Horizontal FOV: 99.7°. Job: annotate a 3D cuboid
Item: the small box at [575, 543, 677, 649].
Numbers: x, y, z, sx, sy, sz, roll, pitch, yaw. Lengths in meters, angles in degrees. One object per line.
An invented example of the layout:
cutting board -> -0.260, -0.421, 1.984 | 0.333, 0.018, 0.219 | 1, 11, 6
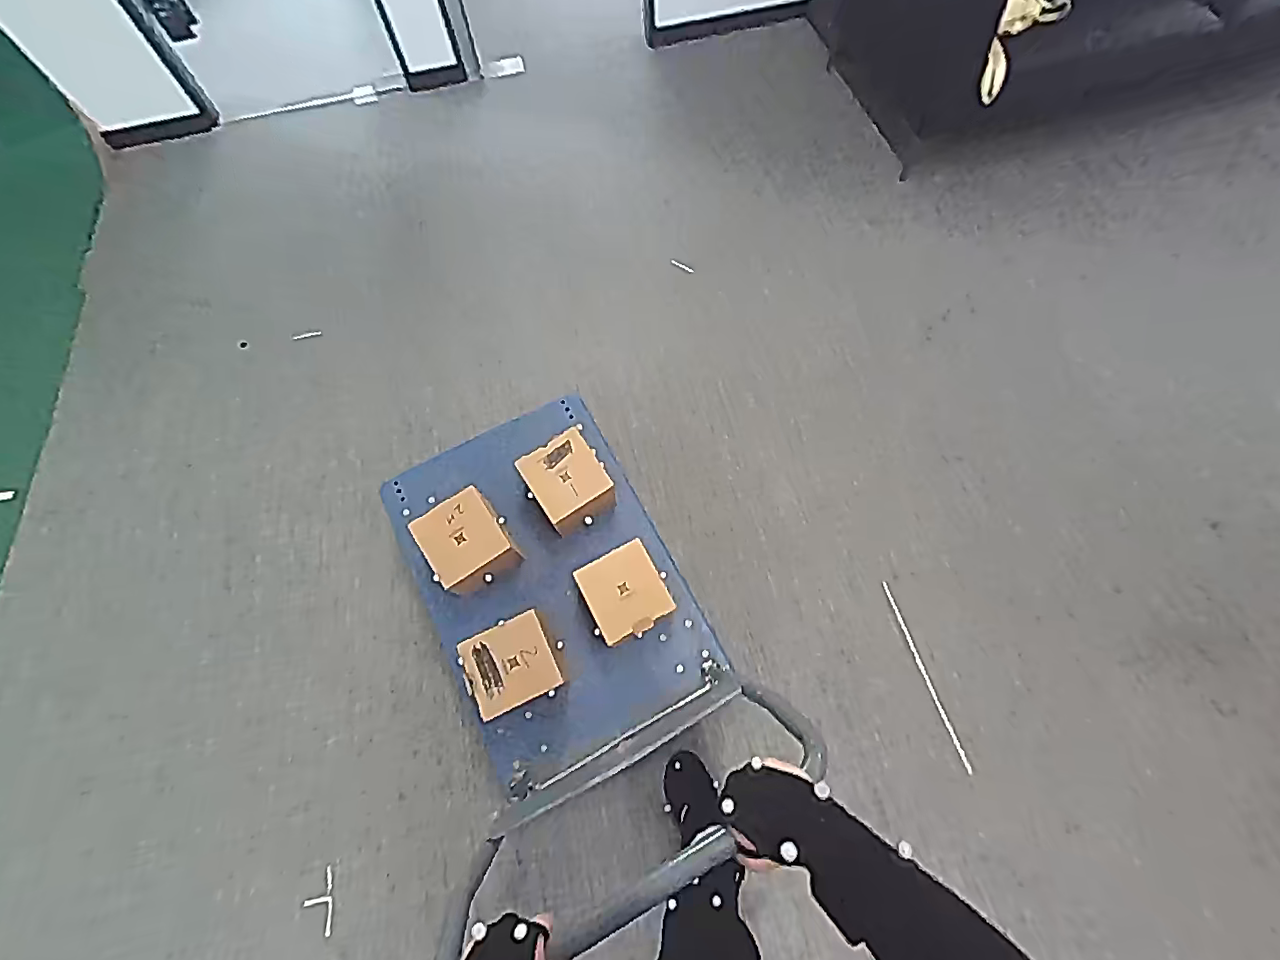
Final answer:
small box -> -0.033, 0.270, 1.230 | 0.168, 0.176, 0.179 | -27, 75, -9

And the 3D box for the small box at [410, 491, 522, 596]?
small box -> -0.395, 0.156, 1.260 | 0.168, 0.176, 0.179 | -33, 76, -11

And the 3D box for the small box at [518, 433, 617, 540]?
small box -> -0.170, 0.021, 1.307 | 0.168, 0.176, 0.179 | -32, 76, -10
